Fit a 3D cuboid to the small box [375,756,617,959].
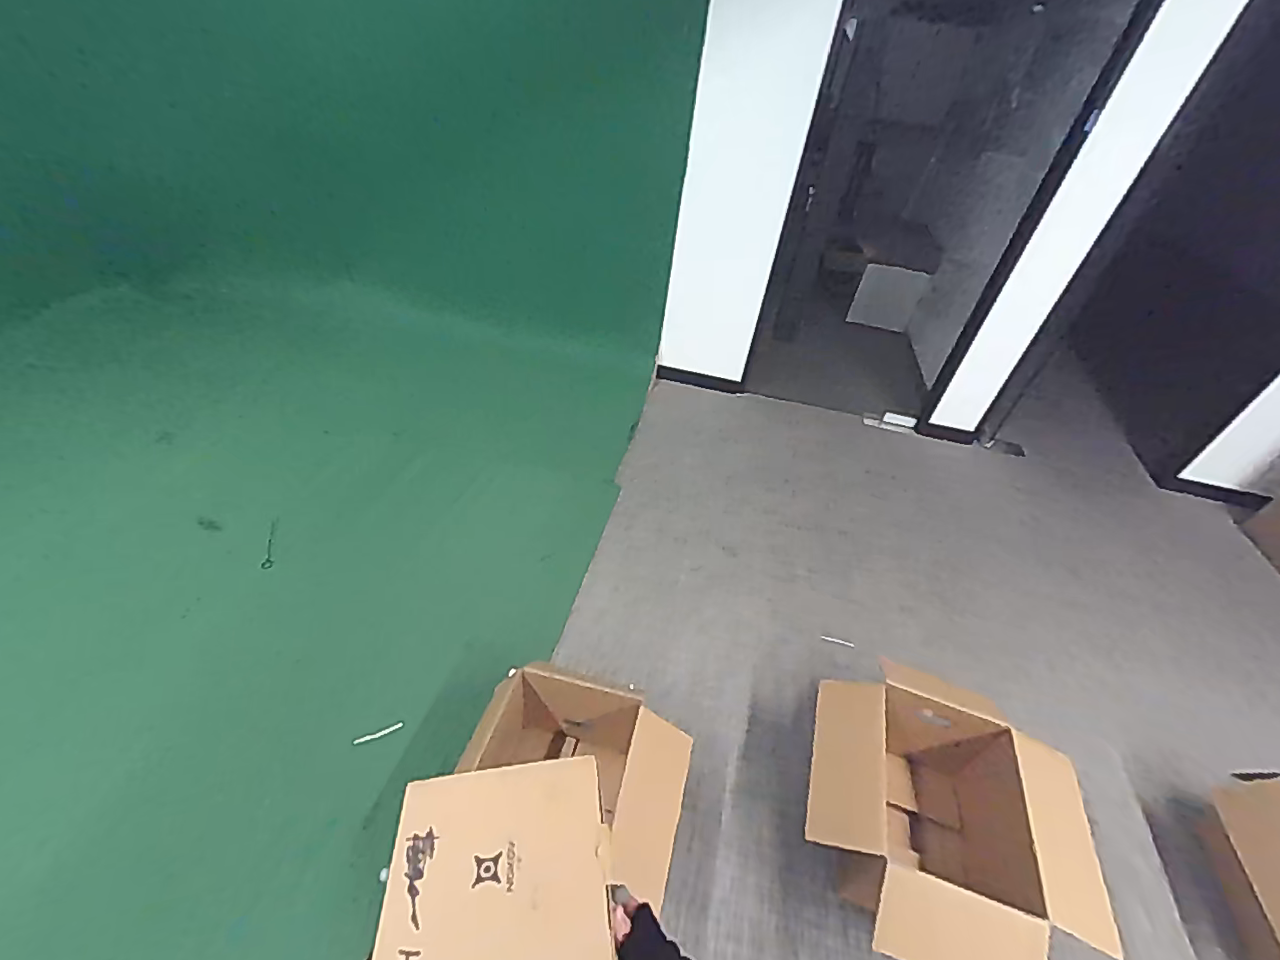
[{"bbox_3d":[-0.115,0.379,0.487,0.179,0.176,0.168,-3,34,-6],"label":"small box"}]
